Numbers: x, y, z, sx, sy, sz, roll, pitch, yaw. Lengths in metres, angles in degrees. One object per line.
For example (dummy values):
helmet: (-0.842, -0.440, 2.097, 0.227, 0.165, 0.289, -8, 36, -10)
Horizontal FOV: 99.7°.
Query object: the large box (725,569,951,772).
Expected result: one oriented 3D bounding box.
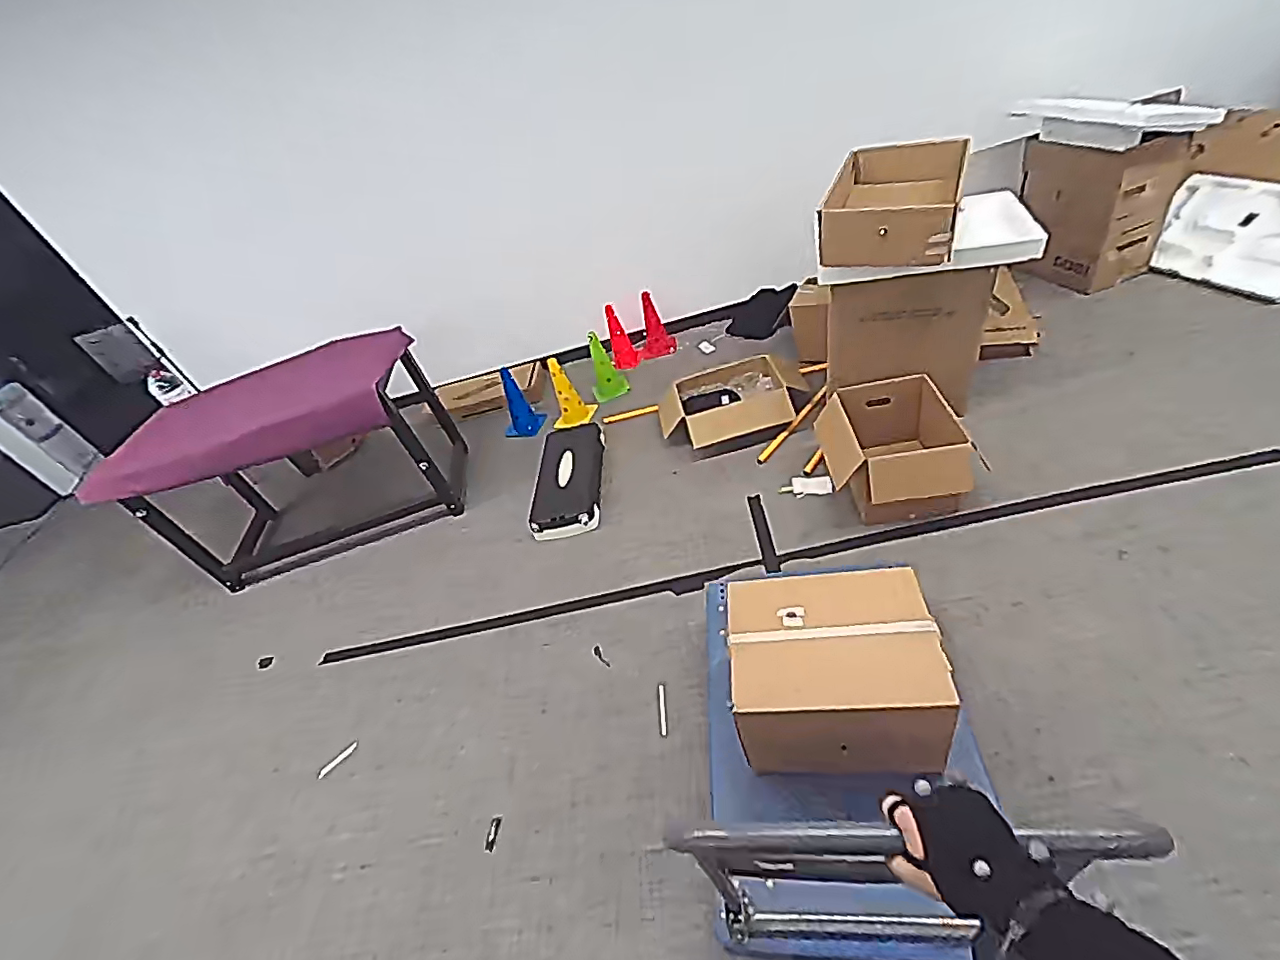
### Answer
large box: (0.425, 0.438, 1.222, 0.408, 0.320, 0.320, -9, 39, 14)
